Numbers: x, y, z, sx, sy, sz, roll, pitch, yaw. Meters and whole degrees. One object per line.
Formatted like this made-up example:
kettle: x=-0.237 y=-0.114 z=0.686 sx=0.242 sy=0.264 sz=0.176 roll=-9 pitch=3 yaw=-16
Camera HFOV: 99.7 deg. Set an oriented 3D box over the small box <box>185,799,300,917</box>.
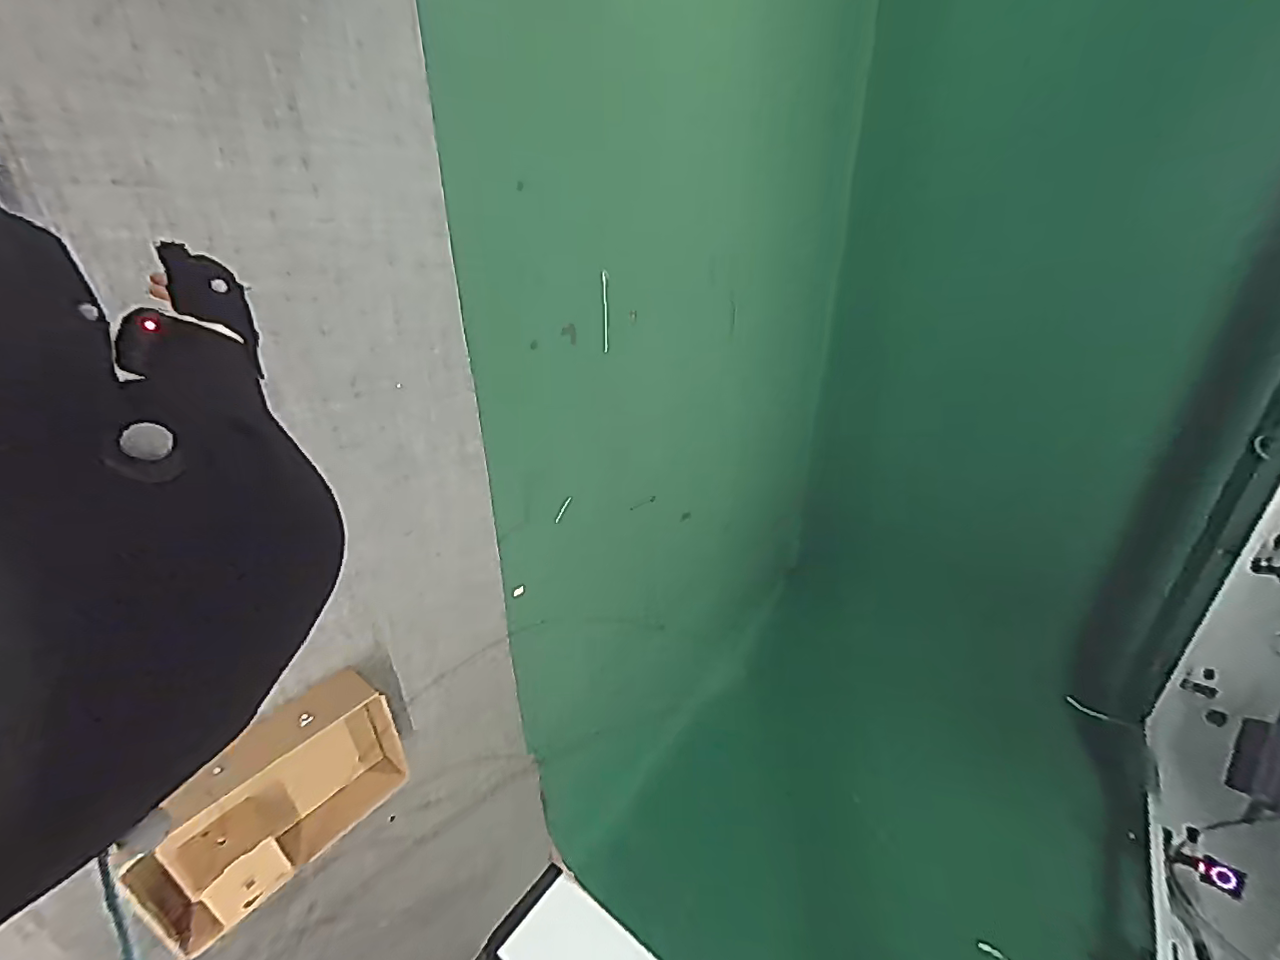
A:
small box: x=-1.050 y=0.987 z=1.429 sx=0.168 sy=0.176 sz=0.179 roll=-38 pitch=134 yaw=-42
